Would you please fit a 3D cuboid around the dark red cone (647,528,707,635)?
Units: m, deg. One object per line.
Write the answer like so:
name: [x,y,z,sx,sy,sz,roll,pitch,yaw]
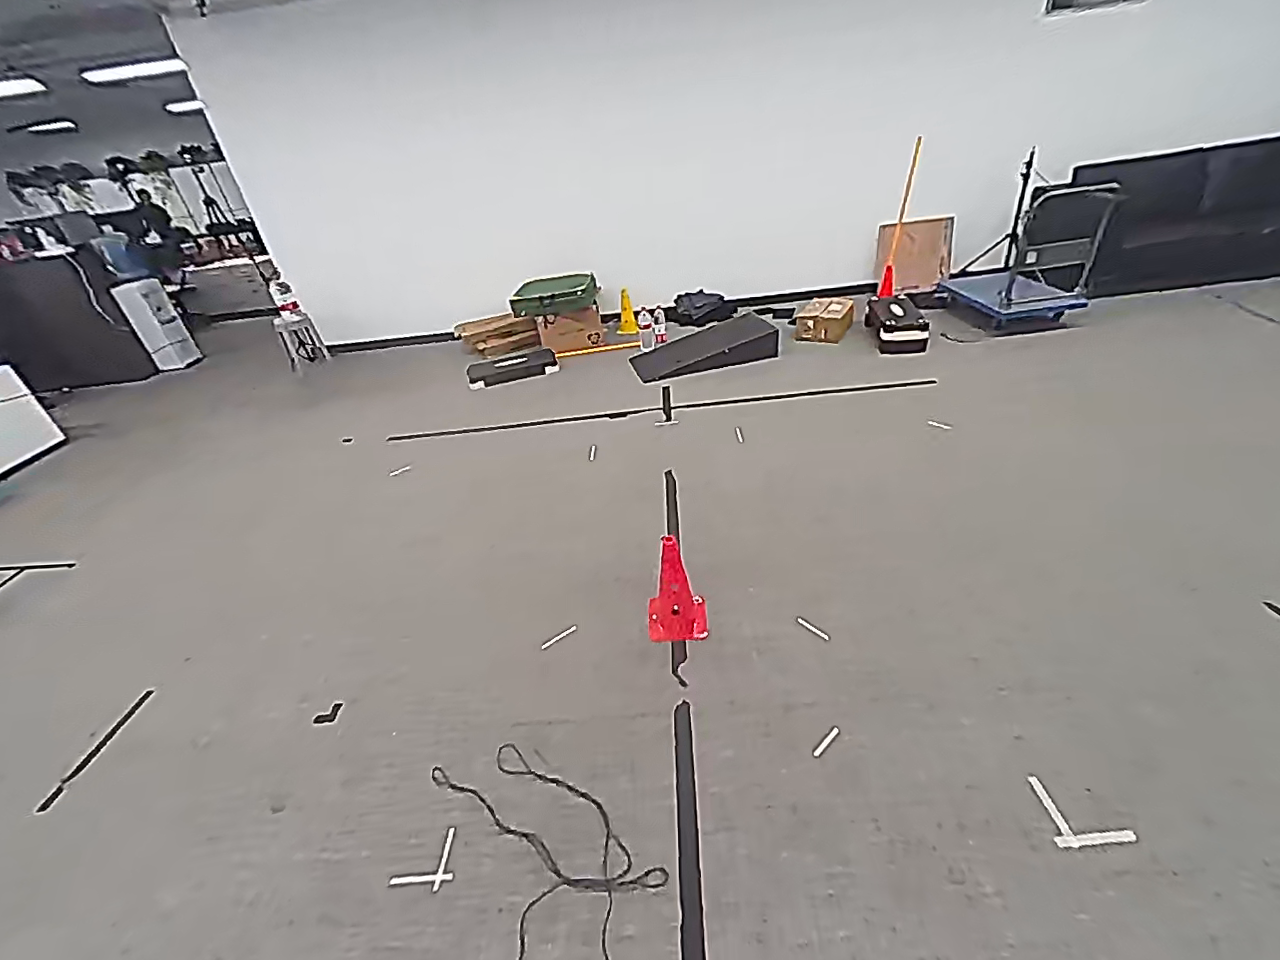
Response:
dark red cone: [0.105,0.318,1.781,0.201,0.394,0.202,-7,33,4]
